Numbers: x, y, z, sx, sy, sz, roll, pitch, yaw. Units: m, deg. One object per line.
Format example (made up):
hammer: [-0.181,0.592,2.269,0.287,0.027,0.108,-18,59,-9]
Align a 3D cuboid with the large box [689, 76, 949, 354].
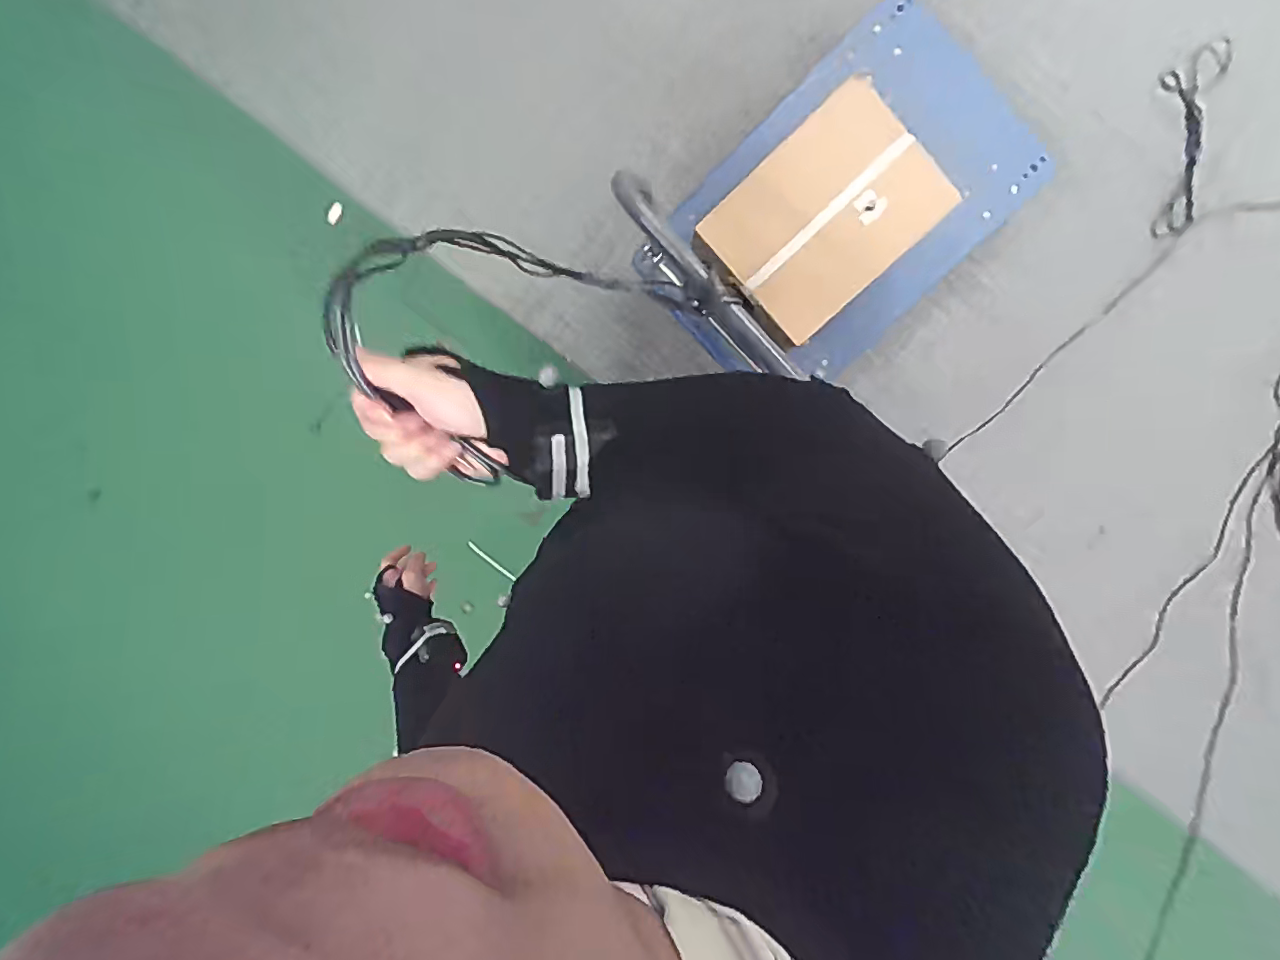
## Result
large box: [0.357,-0.539,1.198,0.408,0.320,0.320,-42,95,8]
